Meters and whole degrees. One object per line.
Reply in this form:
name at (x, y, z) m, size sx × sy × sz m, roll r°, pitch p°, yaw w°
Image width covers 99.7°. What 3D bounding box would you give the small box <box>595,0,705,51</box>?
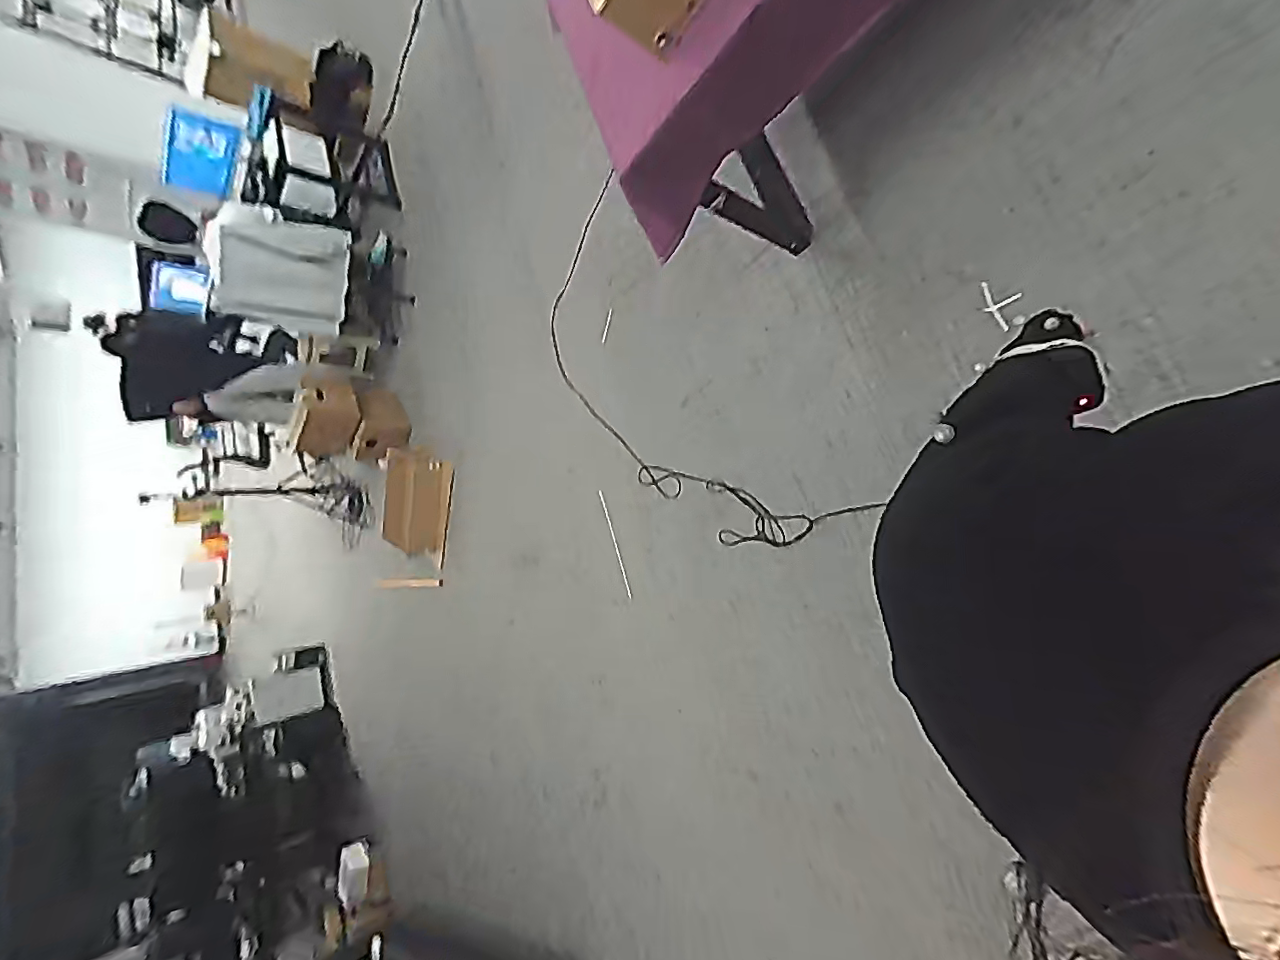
small box at (0.015, -0.929, 0.973) m, size 0.168 × 0.176 × 0.179 m, roll -33°, pitch 67°, yaw 40°
